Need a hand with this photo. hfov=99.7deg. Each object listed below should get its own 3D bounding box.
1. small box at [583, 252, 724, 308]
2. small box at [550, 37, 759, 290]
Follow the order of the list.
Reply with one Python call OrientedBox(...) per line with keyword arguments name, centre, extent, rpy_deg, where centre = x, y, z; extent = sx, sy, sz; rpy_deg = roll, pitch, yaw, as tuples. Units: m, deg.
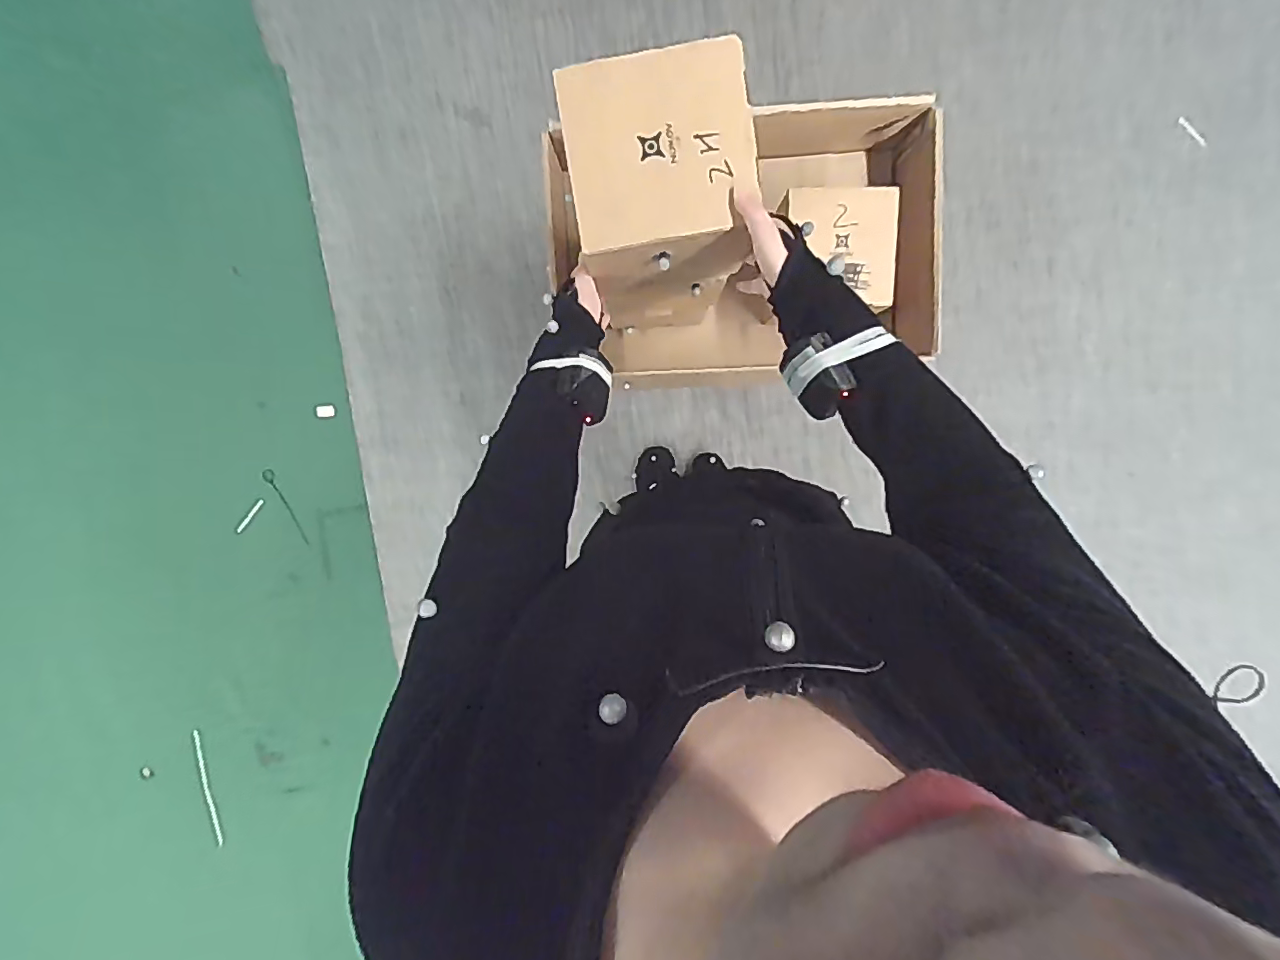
OrientedBox(name="small box", centre=(0.015, -0.338, 0.740), extent=(0.179, 0.176, 0.168), rpy_deg=(-4, 96, 0))
OrientedBox(name="small box", centre=(0.016, -0.313, 0.575), extent=(0.179, 0.176, 0.168), rpy_deg=(-9, 96, 2))
